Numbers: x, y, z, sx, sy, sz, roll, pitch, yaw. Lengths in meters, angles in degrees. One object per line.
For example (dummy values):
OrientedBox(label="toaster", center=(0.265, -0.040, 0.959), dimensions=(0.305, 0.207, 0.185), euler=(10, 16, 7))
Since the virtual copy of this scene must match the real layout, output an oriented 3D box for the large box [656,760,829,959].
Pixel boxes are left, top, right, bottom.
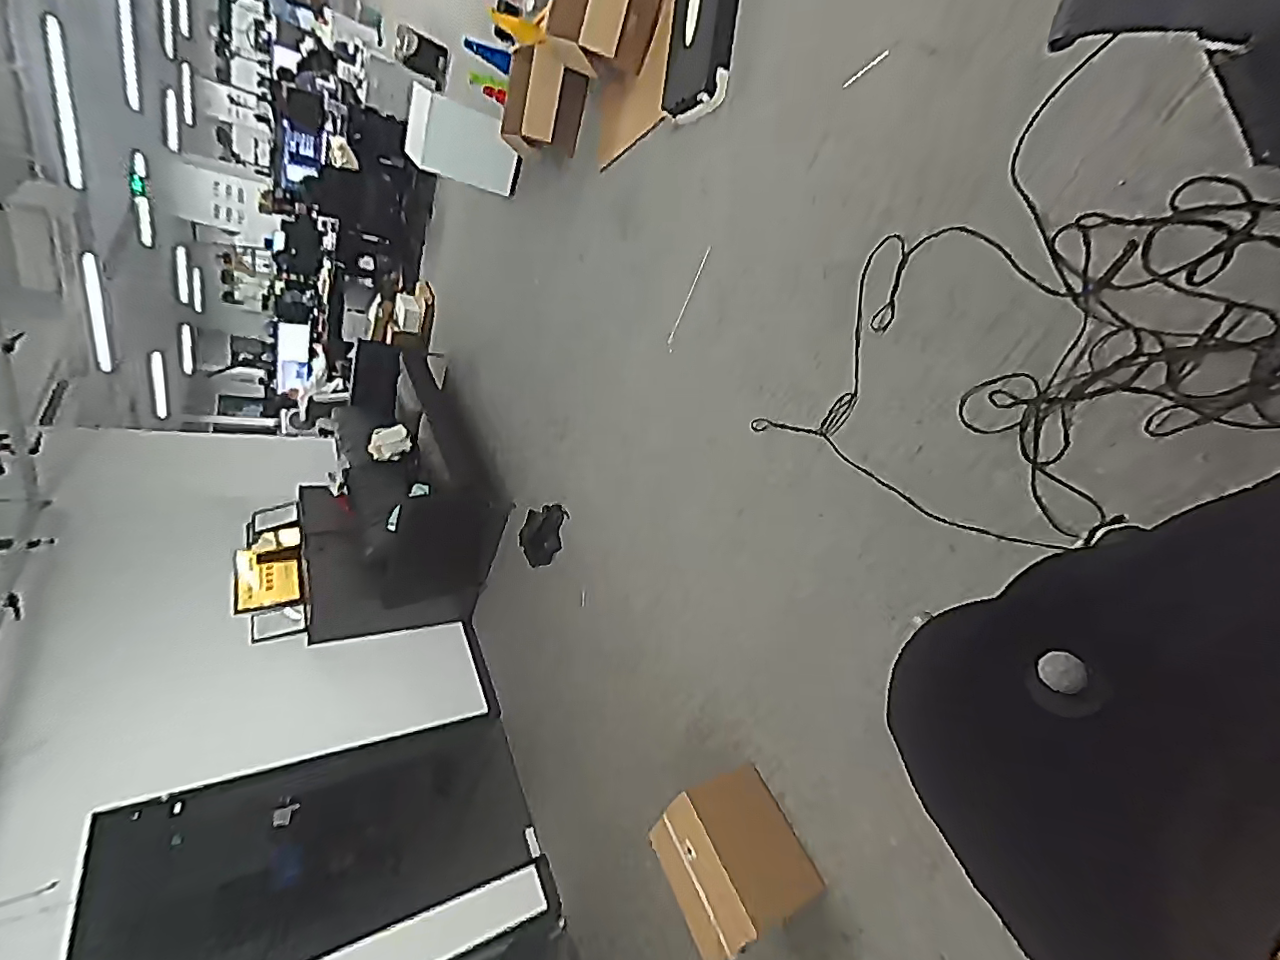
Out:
OrientedBox(label="large box", center=(0.317, 1.208, 1.747), dimensions=(0.408, 0.320, 0.320), euler=(55, 131, 40))
